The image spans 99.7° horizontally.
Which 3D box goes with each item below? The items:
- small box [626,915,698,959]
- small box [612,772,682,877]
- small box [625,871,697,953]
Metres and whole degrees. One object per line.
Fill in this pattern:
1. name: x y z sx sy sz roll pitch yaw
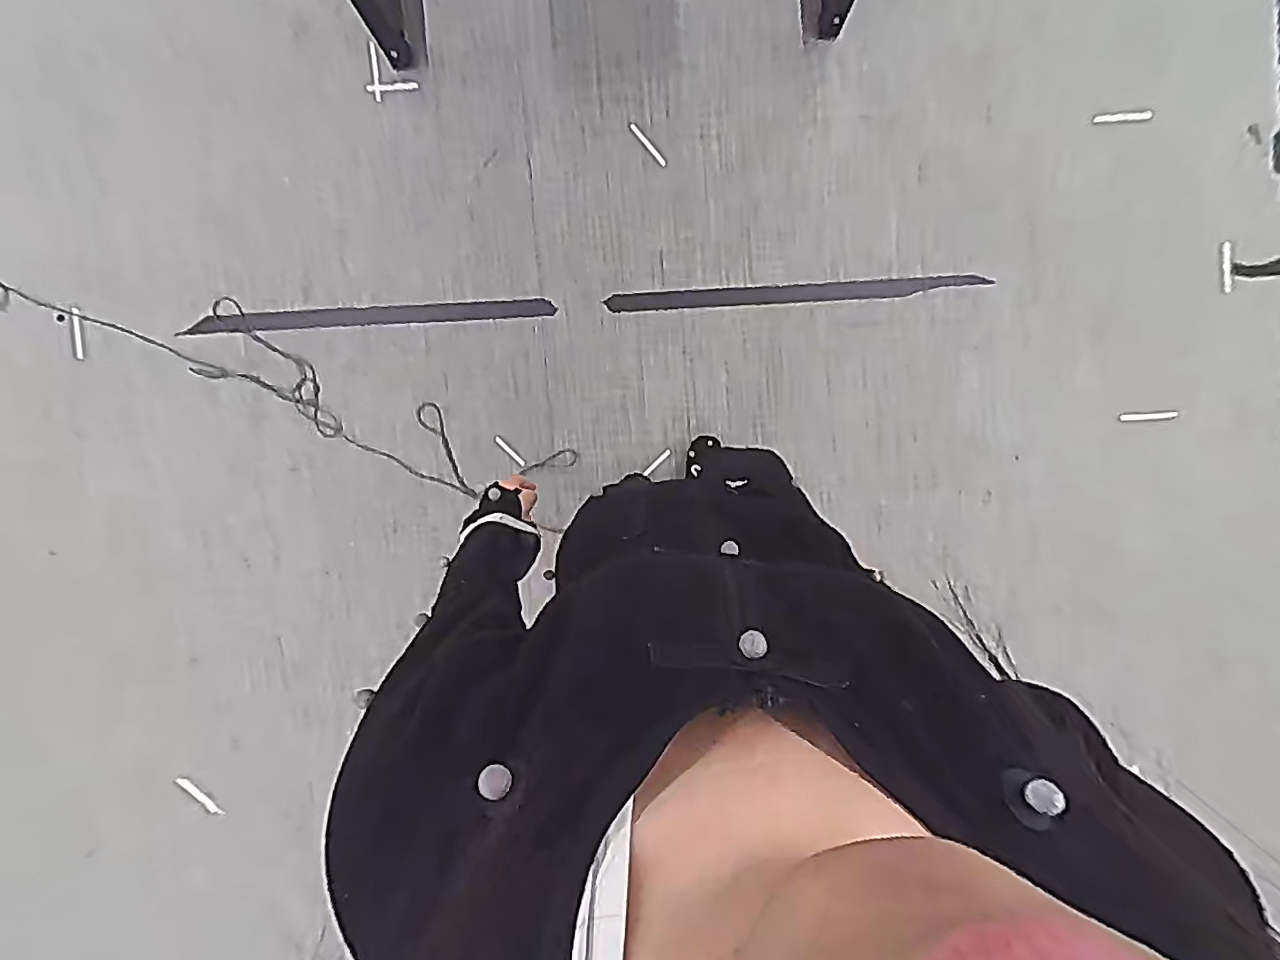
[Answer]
1. small box: 0.059 1.187 1.277 0.168 0.176 0.179 -9 92 -1
2. small box: 0.016 0.899 1.431 0.168 0.176 0.179 -6 93 1
3. small box: 0.054 1.179 1.442 0.168 0.176 0.179 -11 92 0
